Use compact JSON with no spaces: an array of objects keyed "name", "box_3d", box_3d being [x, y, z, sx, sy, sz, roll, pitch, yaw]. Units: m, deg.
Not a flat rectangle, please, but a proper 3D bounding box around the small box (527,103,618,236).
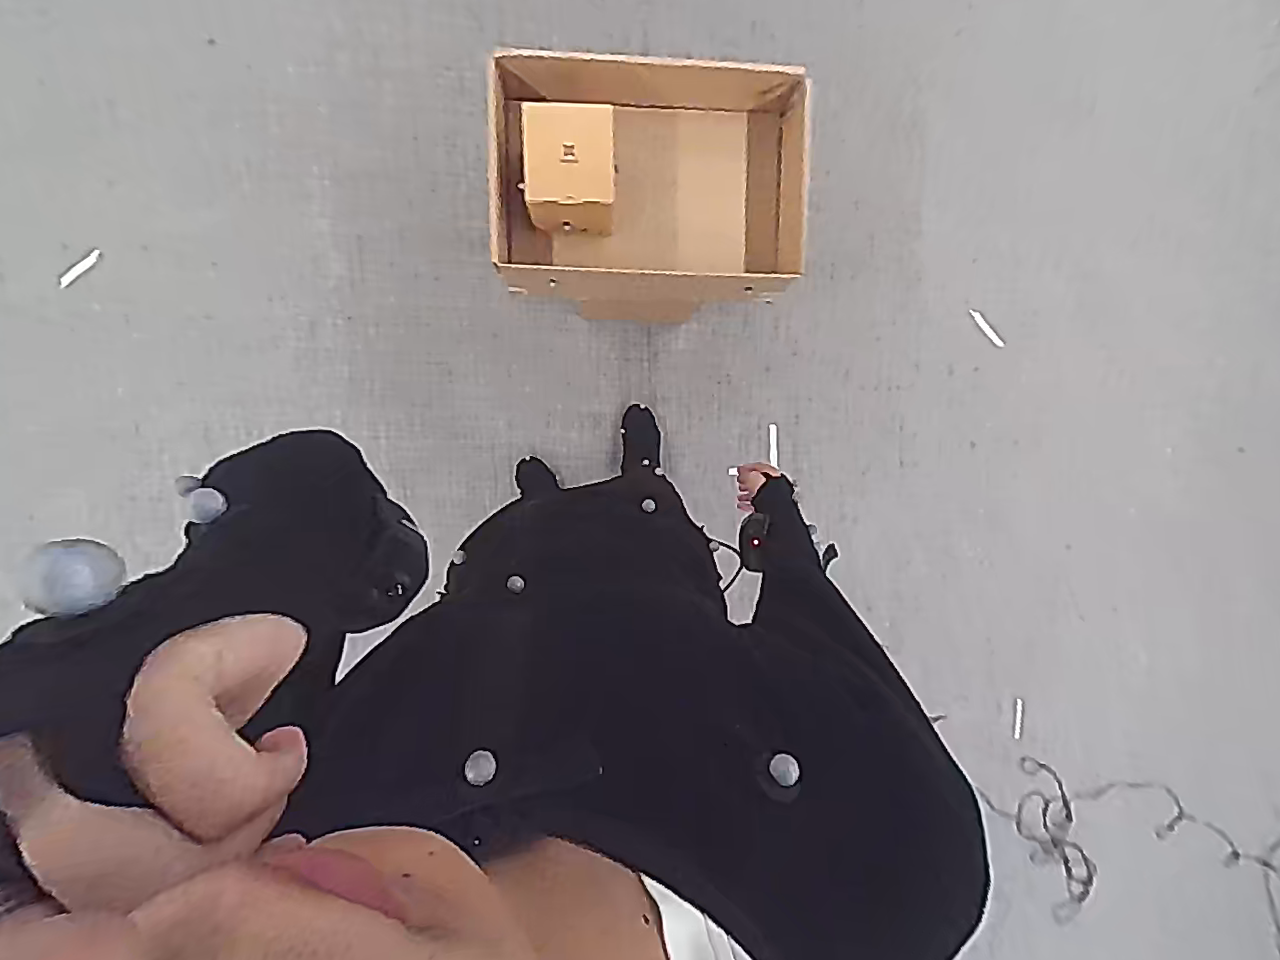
[{"name":"small box","box_3d":[-0.131,-0.605,1.071,0.168,0.176,0.179,-2,96,-5]}]
